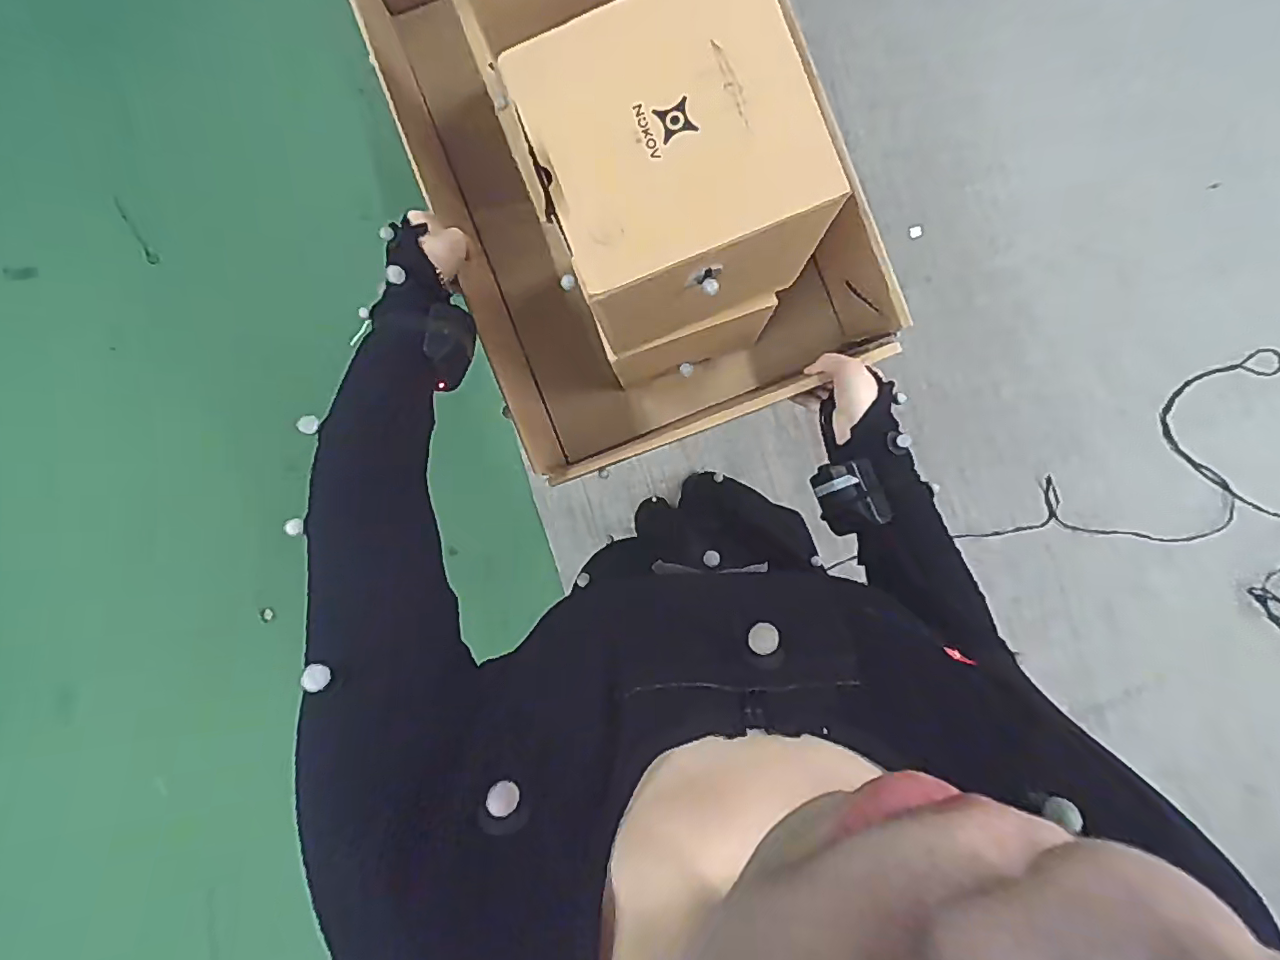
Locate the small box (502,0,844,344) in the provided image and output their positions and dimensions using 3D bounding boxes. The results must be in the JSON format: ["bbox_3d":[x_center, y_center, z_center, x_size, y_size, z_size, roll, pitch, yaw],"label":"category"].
[{"bbox_3d":[0.024,-0.224,0.417,0.179,0.176,0.168,-21,90,3],"label":"small box"}]

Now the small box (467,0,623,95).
[{"bbox_3d":[-0.067,-0.437,0.418,0.179,0.176,0.168,-22,92,2],"label":"small box"}]
